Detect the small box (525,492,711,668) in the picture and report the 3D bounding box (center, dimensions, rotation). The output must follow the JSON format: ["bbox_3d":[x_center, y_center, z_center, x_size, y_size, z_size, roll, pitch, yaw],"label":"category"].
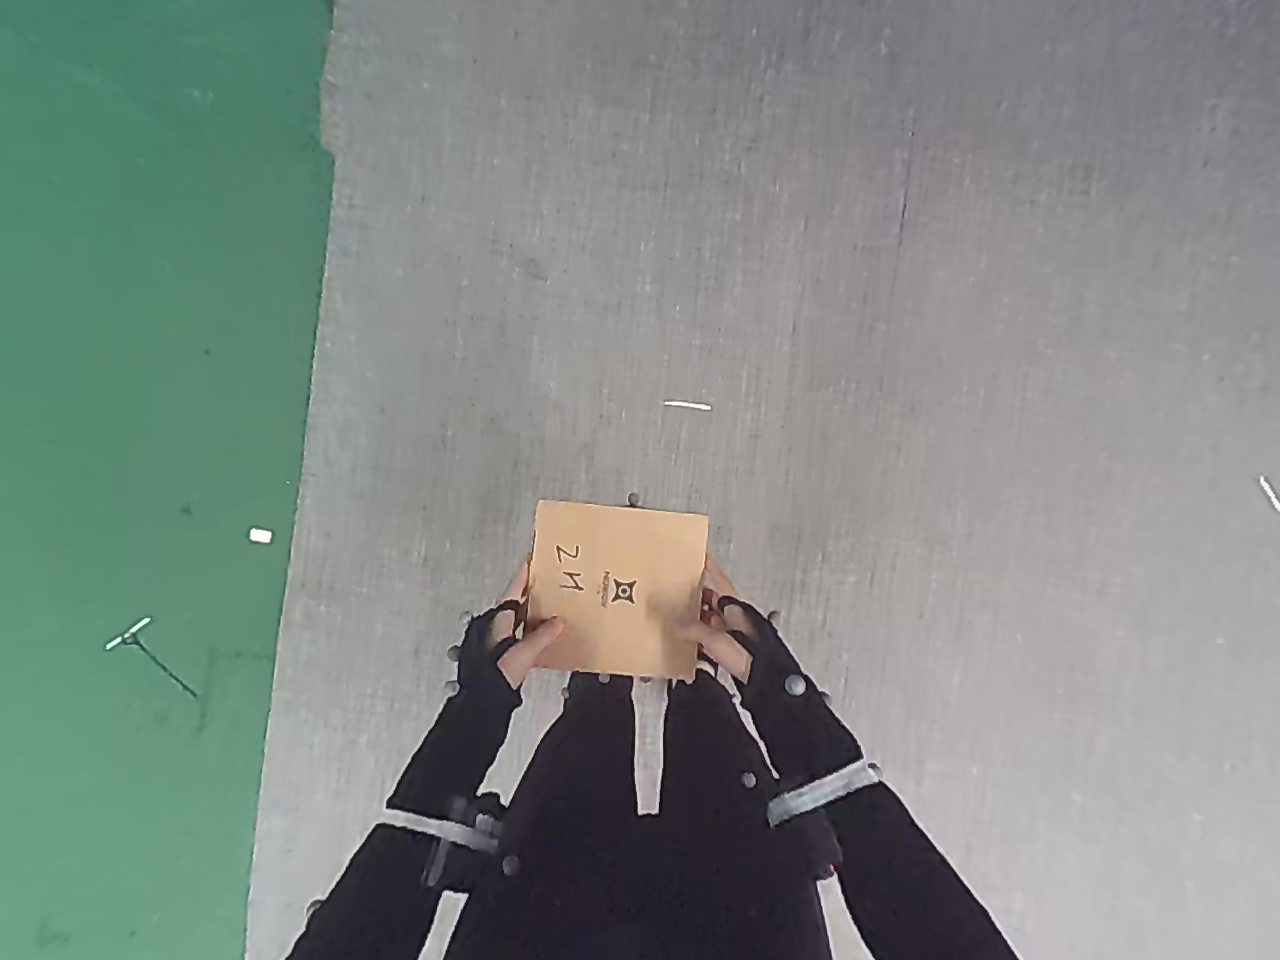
[{"bbox_3d":[-0.025,0.107,0.631,0.179,0.176,0.168,6,86,-2],"label":"small box"}]
